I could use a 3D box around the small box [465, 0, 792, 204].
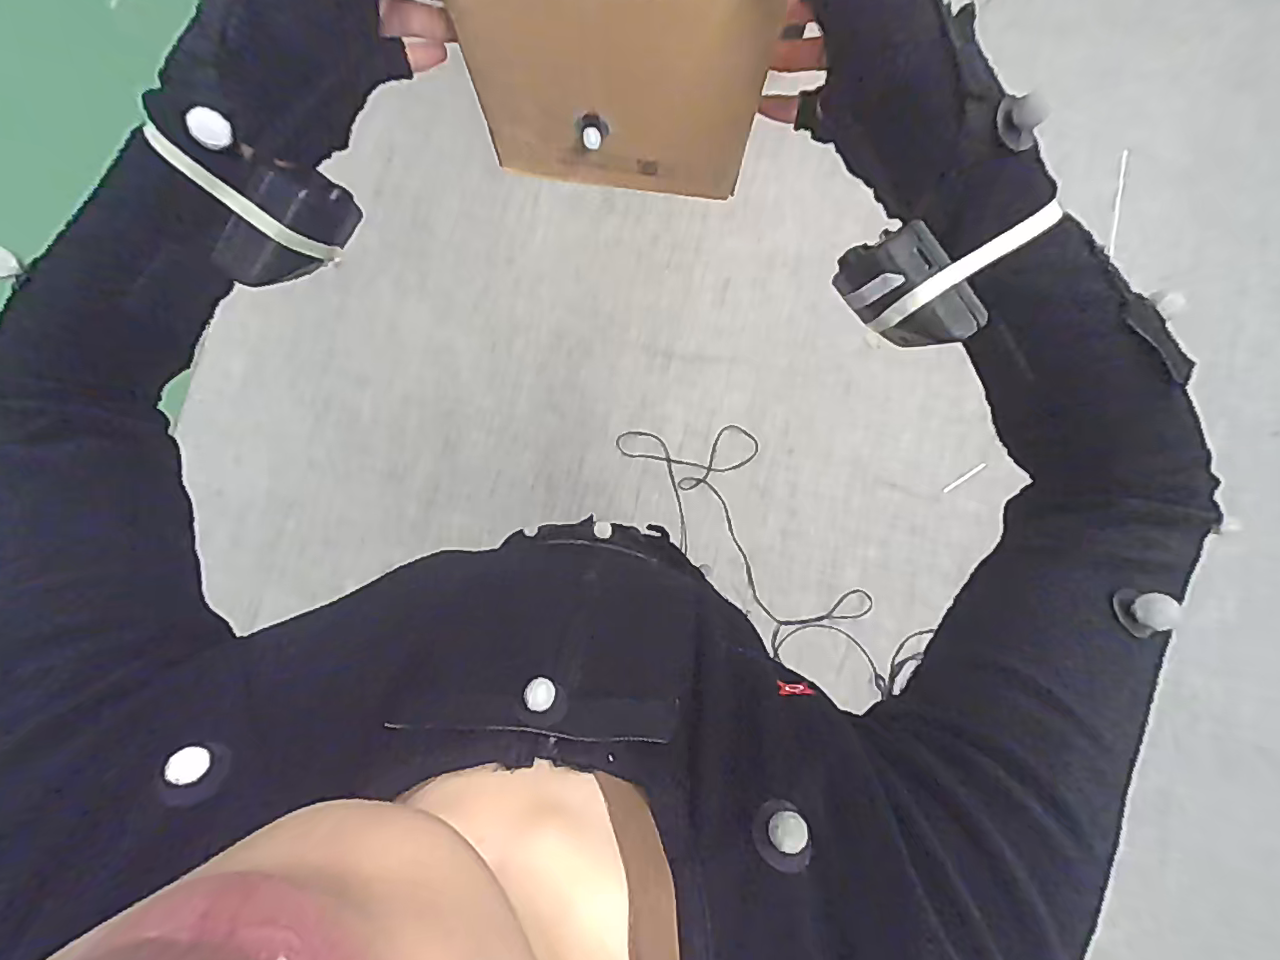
[{"bbox_3d":[-0.003,-0.303,0.320,0.168,0.176,0.179,7,84,0],"label":"small box"}]
